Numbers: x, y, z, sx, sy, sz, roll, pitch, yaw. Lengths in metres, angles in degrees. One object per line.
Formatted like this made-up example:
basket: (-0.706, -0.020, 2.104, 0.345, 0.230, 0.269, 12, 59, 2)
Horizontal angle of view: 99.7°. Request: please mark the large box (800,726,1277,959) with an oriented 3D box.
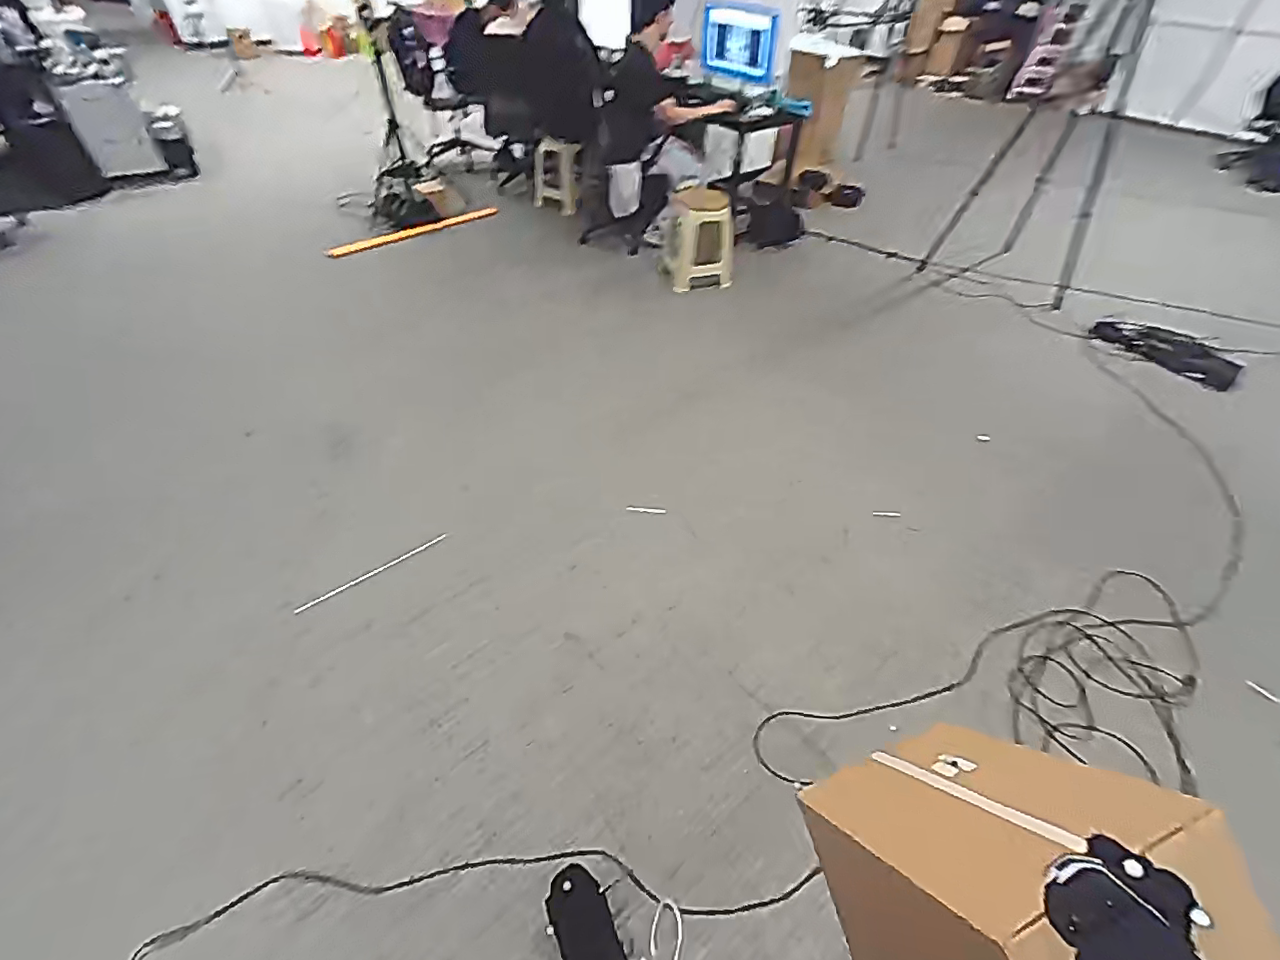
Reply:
large box: (0.490, 0.578, 0.717, 0.320, 0.408, 0.320, -15, 81, -15)
